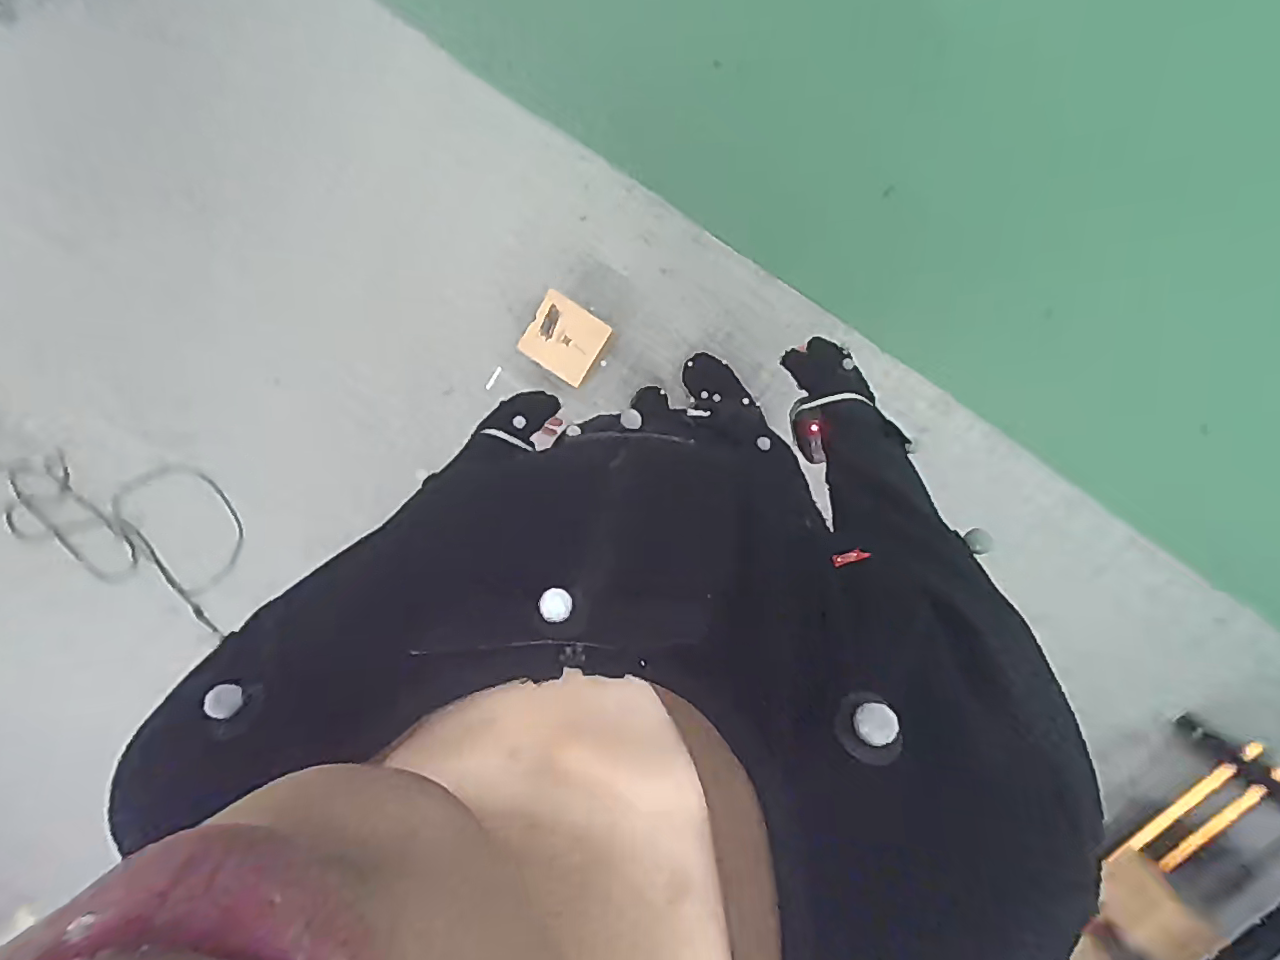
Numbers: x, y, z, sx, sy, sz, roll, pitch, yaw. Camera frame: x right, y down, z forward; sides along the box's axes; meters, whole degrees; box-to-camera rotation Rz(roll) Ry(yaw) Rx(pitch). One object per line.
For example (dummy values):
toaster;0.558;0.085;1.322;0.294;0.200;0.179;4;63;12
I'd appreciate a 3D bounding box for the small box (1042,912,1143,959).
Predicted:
small box;1.267;1.341;1.481;0.179;0.176;0.168;32;103;-2

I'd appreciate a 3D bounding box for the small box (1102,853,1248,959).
small box;1.394;1.137;1.426;0.179;0.176;0.168;34;104;-2

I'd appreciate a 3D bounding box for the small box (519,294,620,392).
small box;-0.168;-0.334;1.343;0.179;0.176;0.168;32;103;-4
